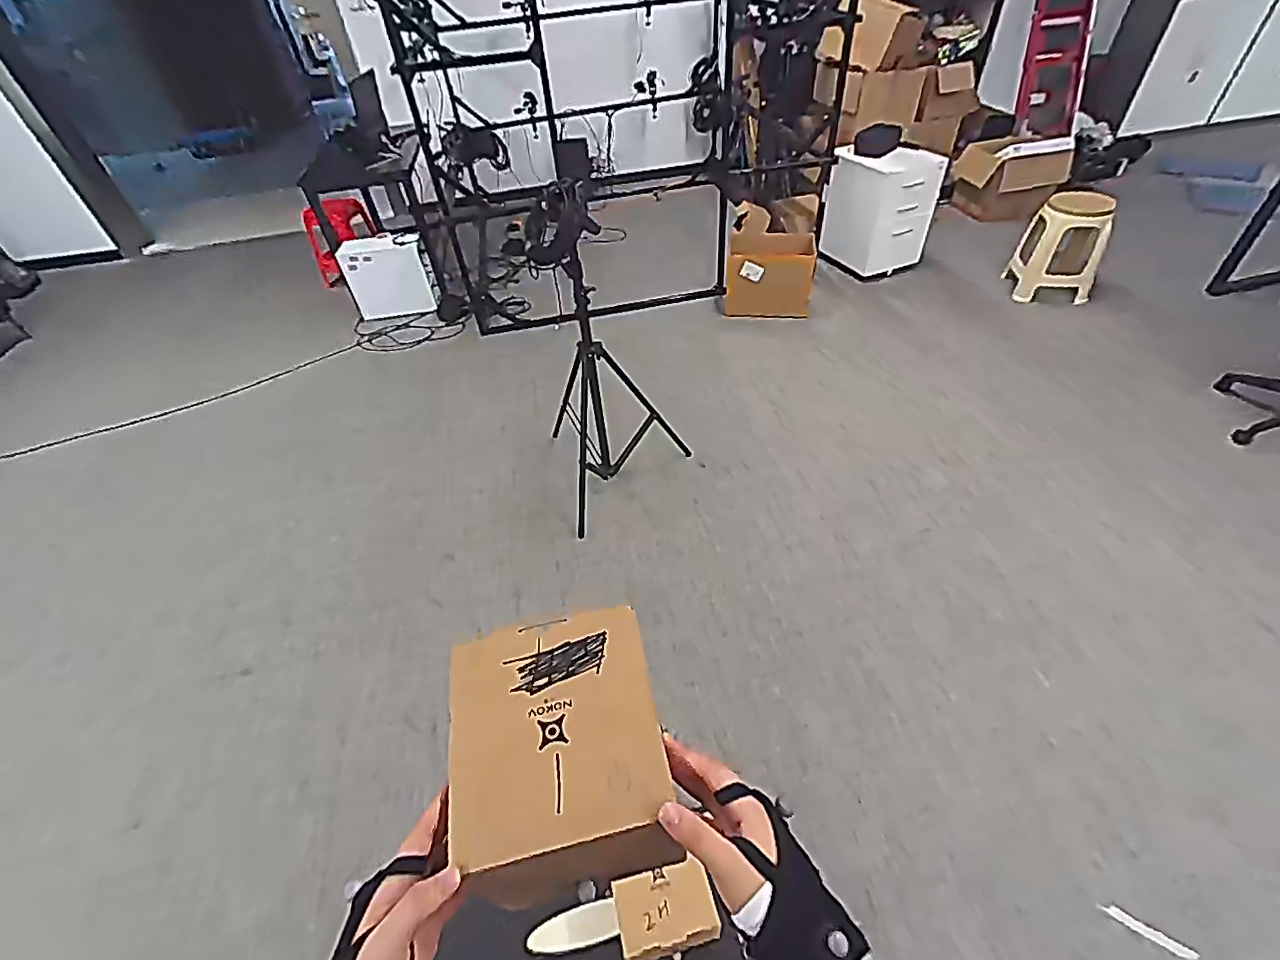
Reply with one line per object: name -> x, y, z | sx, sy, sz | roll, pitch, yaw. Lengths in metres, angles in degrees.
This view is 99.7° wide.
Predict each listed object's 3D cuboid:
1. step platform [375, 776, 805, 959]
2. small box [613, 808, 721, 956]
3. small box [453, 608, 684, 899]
step platform -> -0.080, 0.777, 0.936 | 0.684, 0.204, 0.286 | -12, 44, -7
small box -> 0.041, 0.748, 1.002 | 0.168, 0.176, 0.179 | -14, 45, -7
small box -> -0.060, 0.249, 0.497 | 0.168, 0.176, 0.179 | -12, 46, -5
